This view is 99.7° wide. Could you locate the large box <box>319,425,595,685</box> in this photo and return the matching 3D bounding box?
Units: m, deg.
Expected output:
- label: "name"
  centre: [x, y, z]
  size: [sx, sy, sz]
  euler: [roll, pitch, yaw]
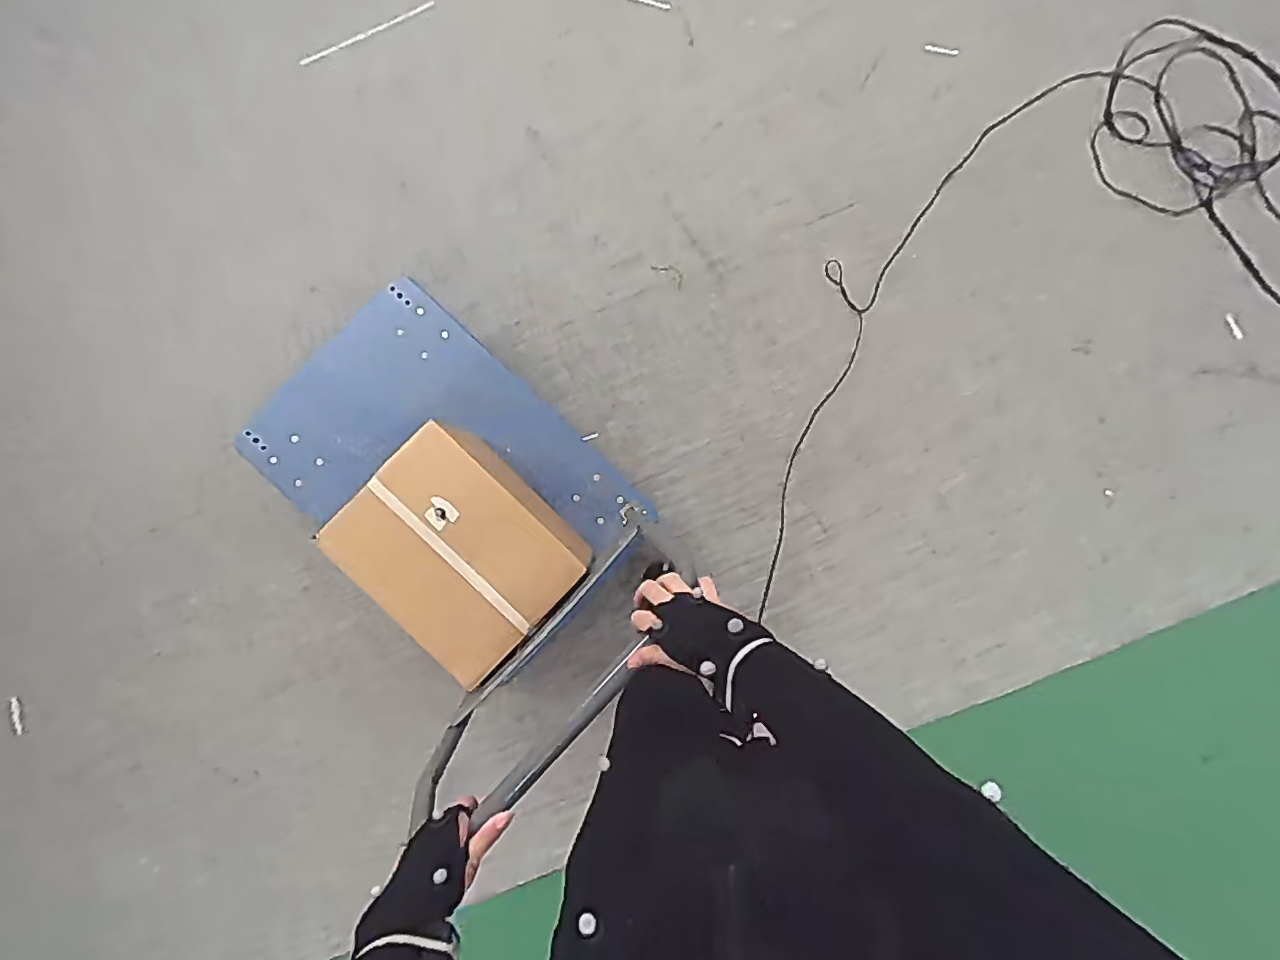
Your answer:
- label: "large box"
  centre: [-0.347, 0.142, 1.146]
  size: [0.408, 0.320, 0.320]
  euler: [43, 87, 0]
